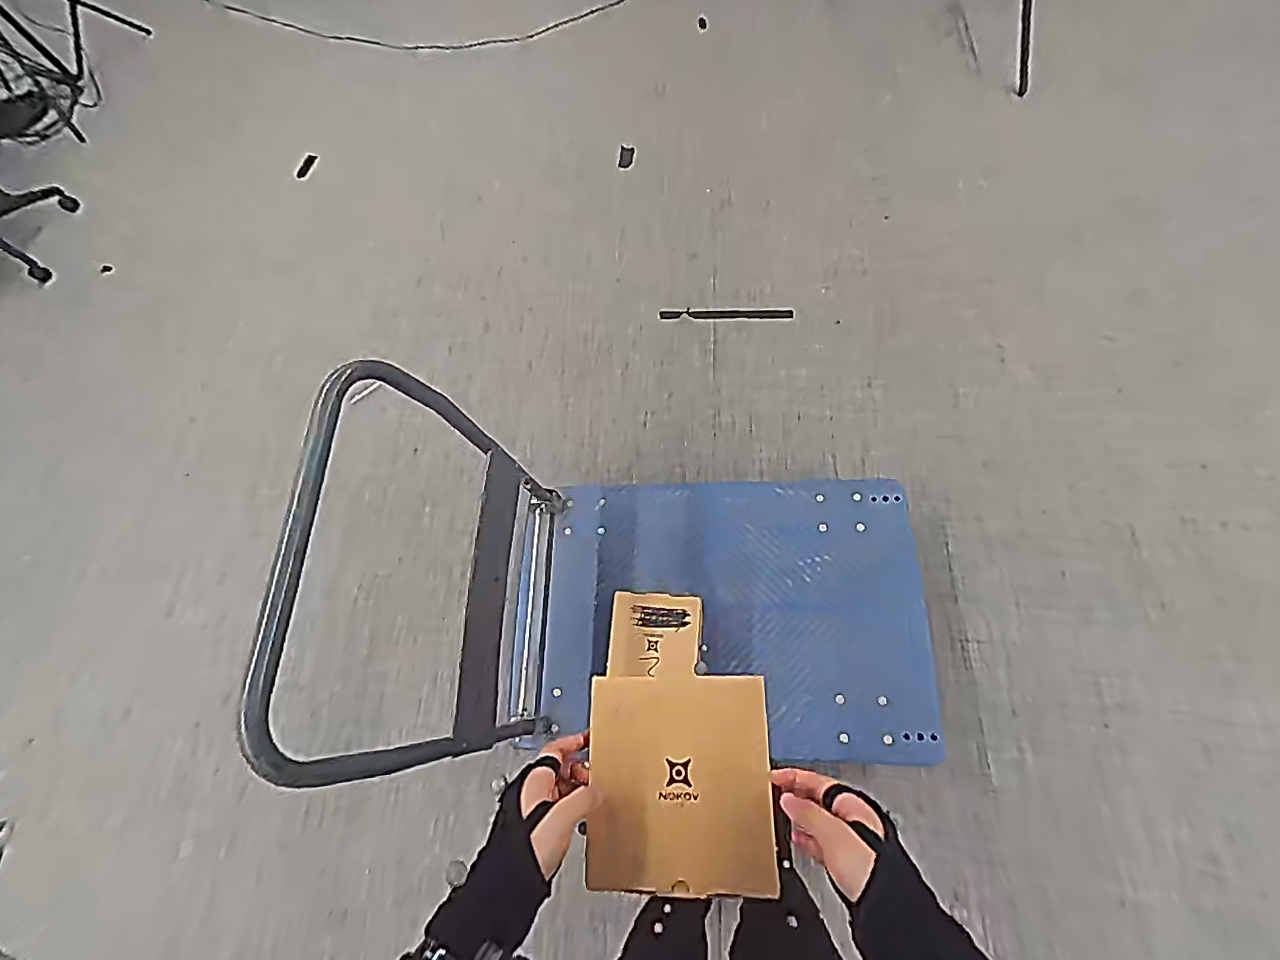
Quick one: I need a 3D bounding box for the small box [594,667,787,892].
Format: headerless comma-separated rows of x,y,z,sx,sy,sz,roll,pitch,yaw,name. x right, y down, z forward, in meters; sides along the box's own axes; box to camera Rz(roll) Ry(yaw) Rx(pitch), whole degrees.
0.049,0.289,0.557,0.168,0.176,0.179,-3,70,6,small box
